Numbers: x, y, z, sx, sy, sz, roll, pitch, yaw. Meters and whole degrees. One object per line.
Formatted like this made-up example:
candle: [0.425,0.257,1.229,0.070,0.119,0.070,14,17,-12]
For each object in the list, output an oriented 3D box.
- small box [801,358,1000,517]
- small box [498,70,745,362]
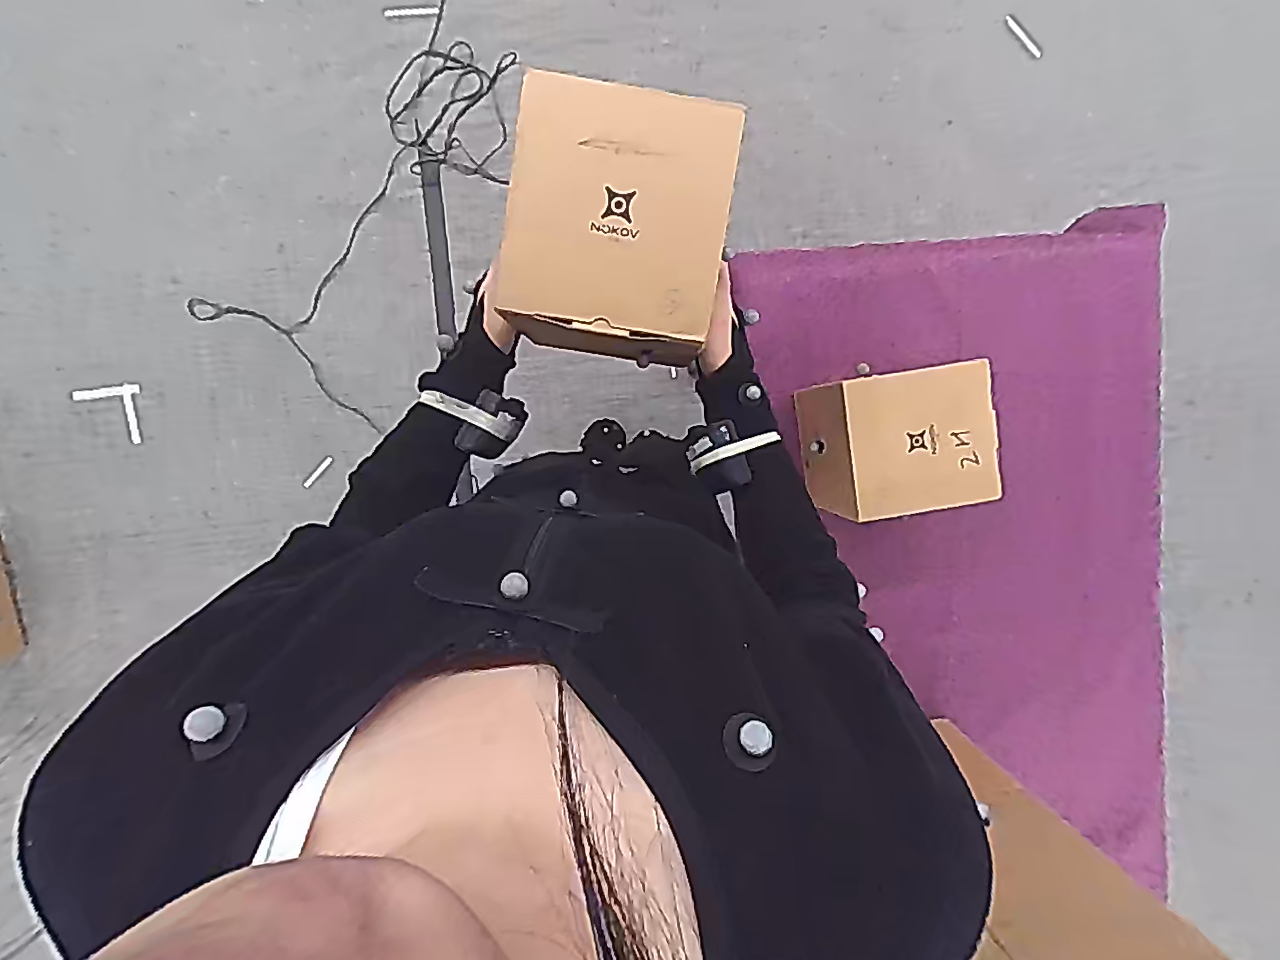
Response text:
small box: [0.321,-0.054,0.702,0.179,0.176,0.168,-9,96,-3]
small box: [-0.016,-0.208,0.481,0.168,0.176,0.179,8,95,-2]
